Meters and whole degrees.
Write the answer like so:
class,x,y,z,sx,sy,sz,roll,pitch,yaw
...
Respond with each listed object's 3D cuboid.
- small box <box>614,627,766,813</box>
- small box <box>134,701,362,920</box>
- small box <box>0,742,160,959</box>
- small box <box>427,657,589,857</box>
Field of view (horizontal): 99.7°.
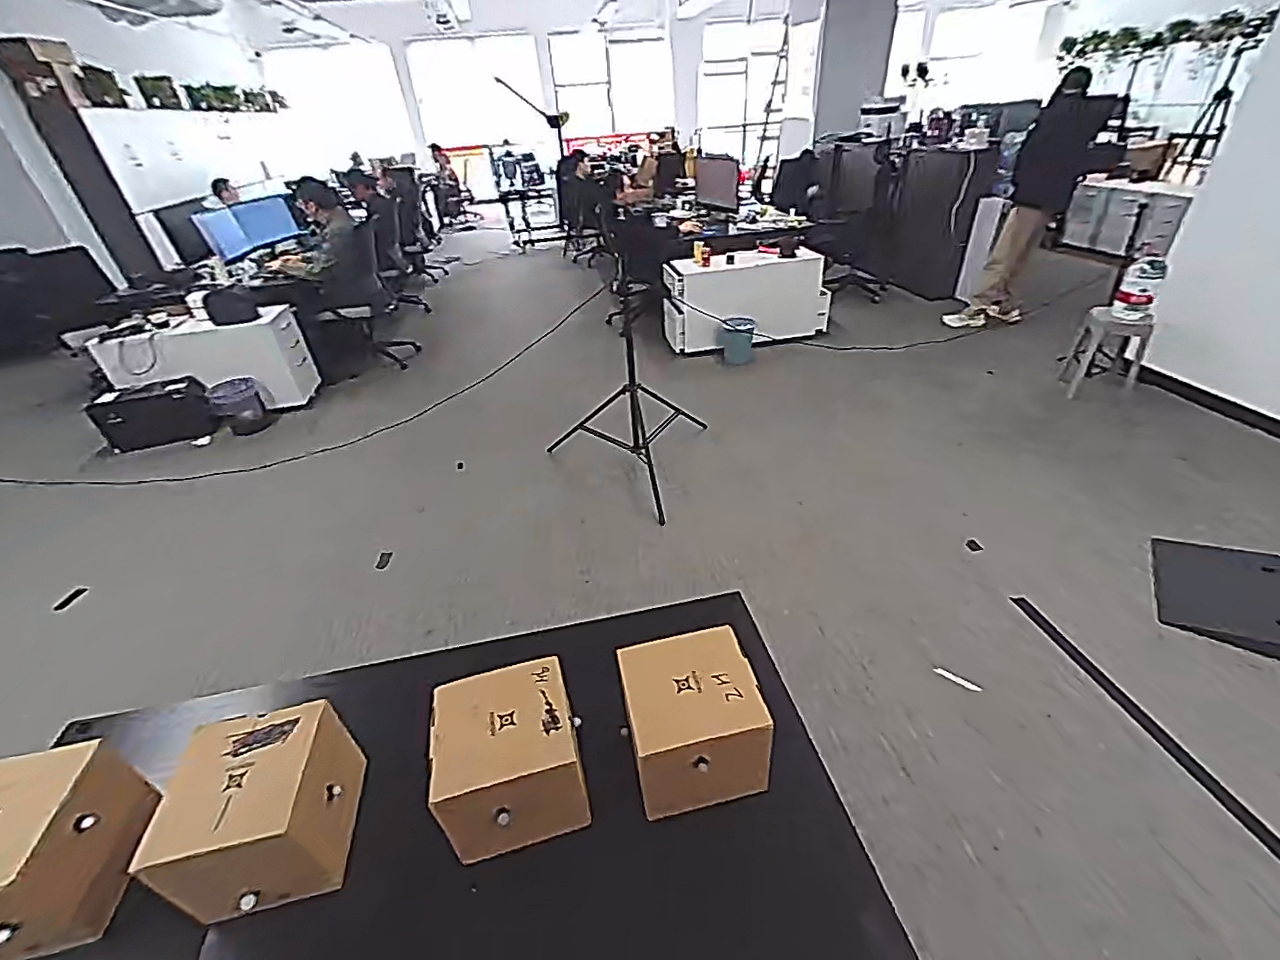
class,x,y,z,sx,sy,sz,roll,pitch,yaw
small box,0.068,0.346,0.780,0.179,0.176,0.168,-10,35,-8
small box,-0.491,0.433,0.717,0.168,0.176,0.179,-10,35,-8
small box,-0.773,0.476,0.687,0.168,0.176,0.179,-9,34,-10
small box,-0.179,0.385,0.754,0.179,0.176,0.168,-13,35,-10
